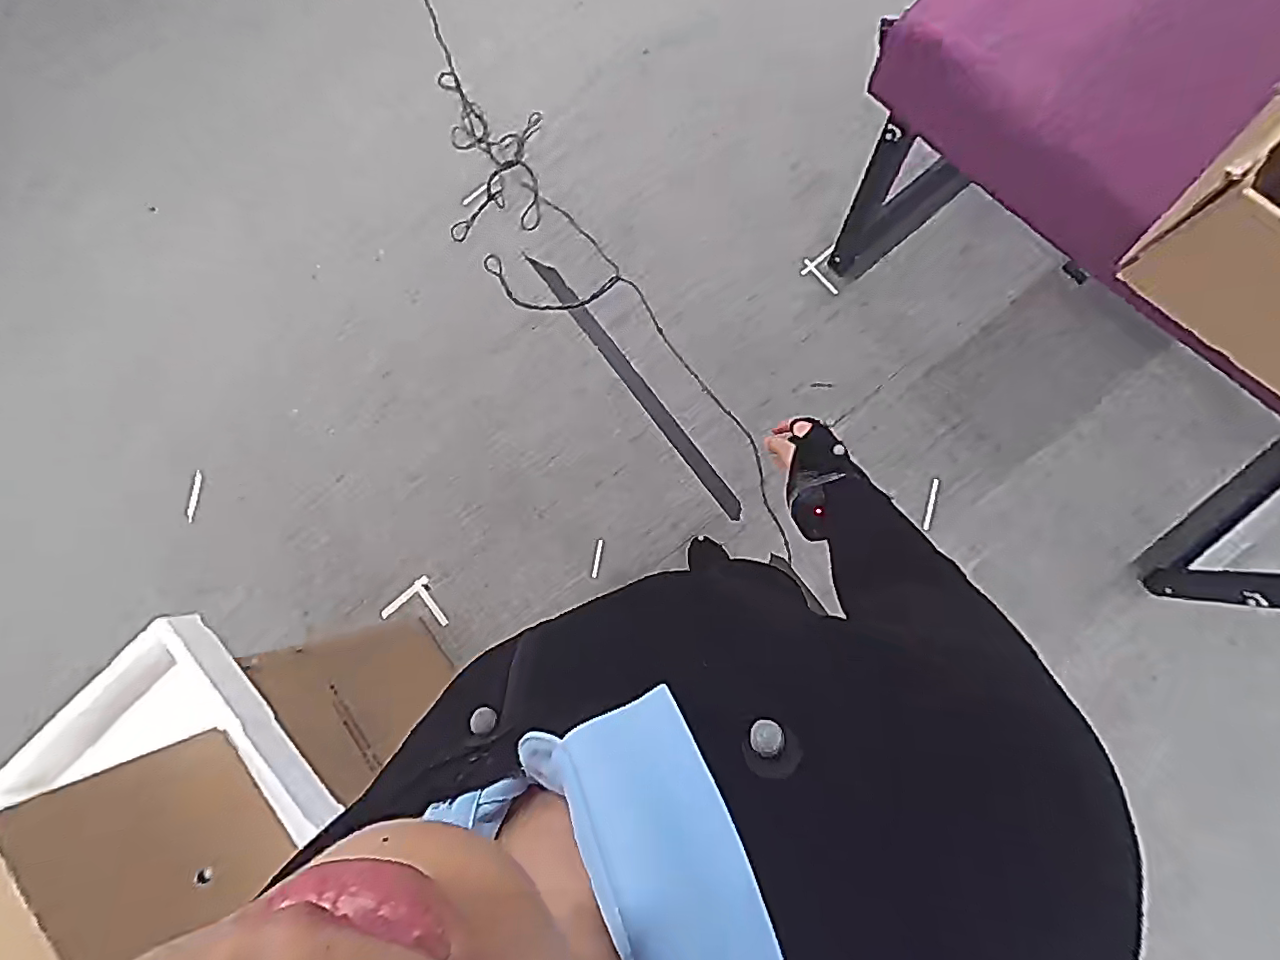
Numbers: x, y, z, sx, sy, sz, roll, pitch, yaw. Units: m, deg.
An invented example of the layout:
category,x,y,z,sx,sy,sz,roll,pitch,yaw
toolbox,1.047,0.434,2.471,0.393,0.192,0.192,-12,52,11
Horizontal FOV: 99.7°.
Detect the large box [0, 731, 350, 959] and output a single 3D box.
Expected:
category,x,y,z,sx,sy,sz,roll,pitch,yaw
large box,-0.703,0.639,0.725,0.320,0.320,0.408,-42,82,1
